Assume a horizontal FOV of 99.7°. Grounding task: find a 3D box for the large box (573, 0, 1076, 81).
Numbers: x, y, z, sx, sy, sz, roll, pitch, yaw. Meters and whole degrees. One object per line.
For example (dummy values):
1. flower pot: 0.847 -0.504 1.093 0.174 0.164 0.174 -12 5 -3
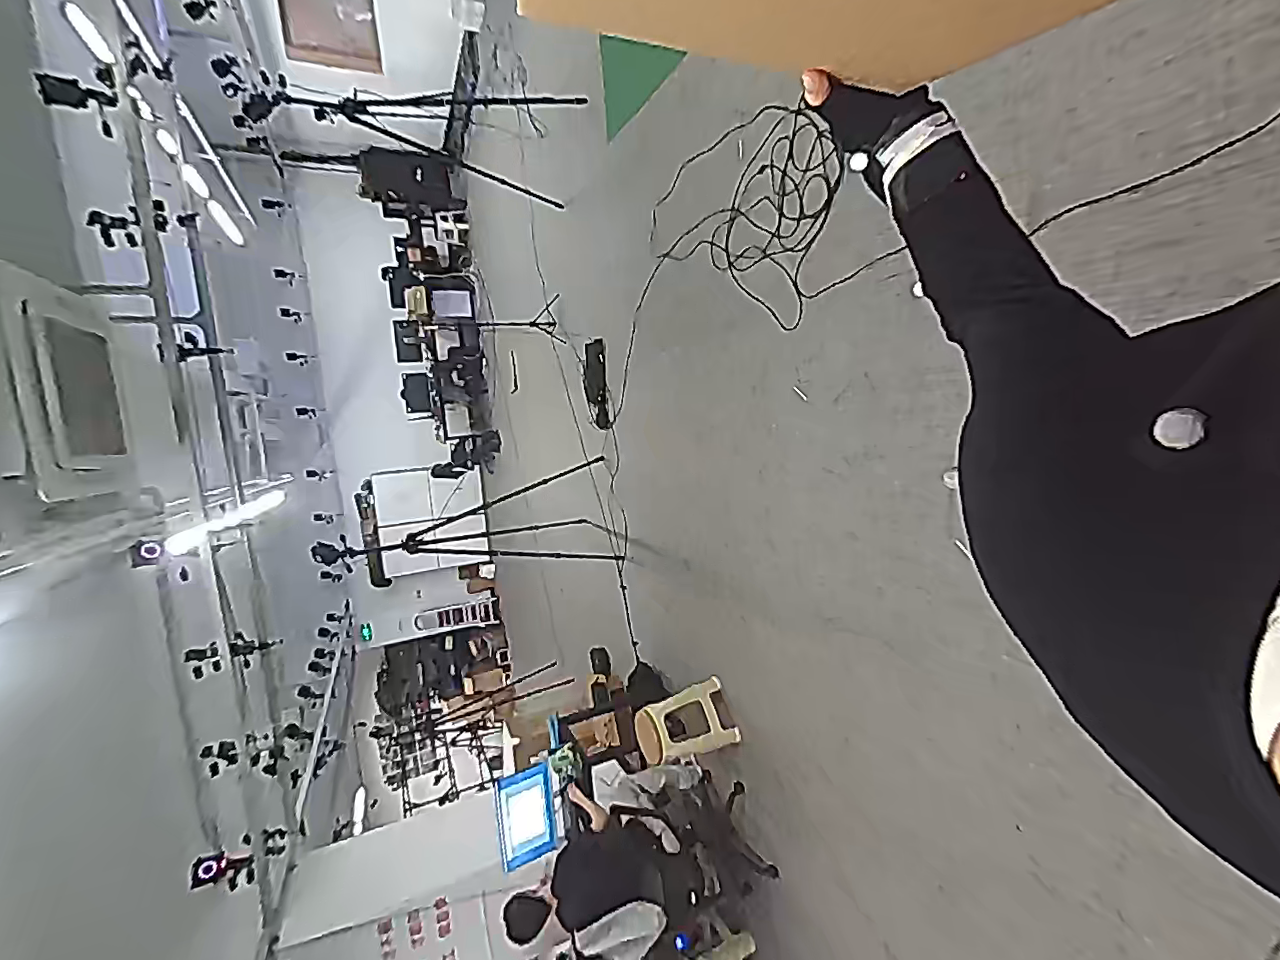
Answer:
1. large box: 0.134 -0.397 0.172 0.408 0.320 0.320 -122 35 -65
